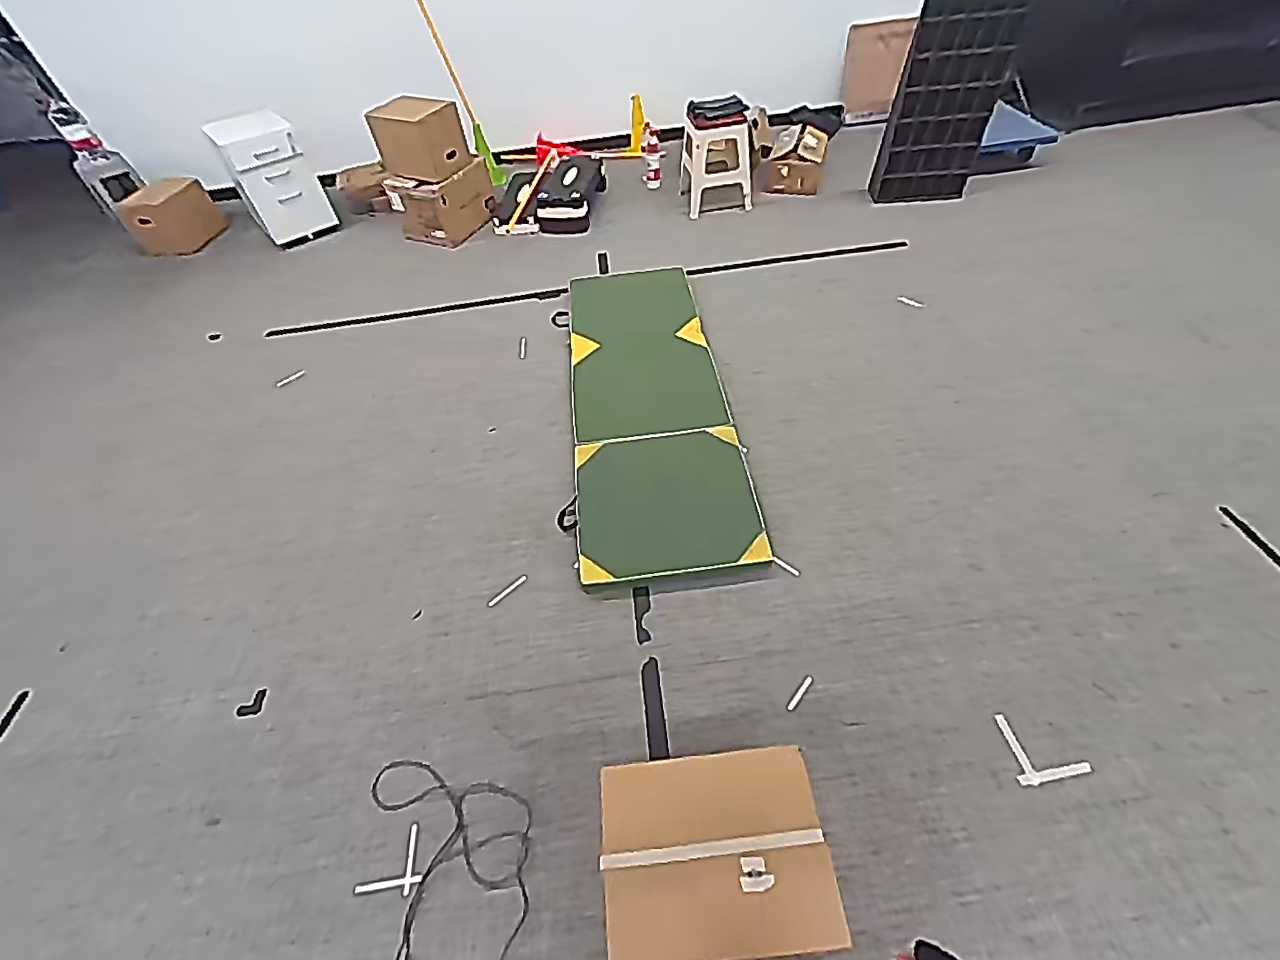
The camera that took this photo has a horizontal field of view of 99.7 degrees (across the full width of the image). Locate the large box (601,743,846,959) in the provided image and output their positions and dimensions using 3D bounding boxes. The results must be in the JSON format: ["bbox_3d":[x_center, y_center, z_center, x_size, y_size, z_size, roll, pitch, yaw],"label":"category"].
[{"bbox_3d":[0.143,0.773,1.105,0.408,0.320,0.320,-7,49,-1],"label":"large box"}]
